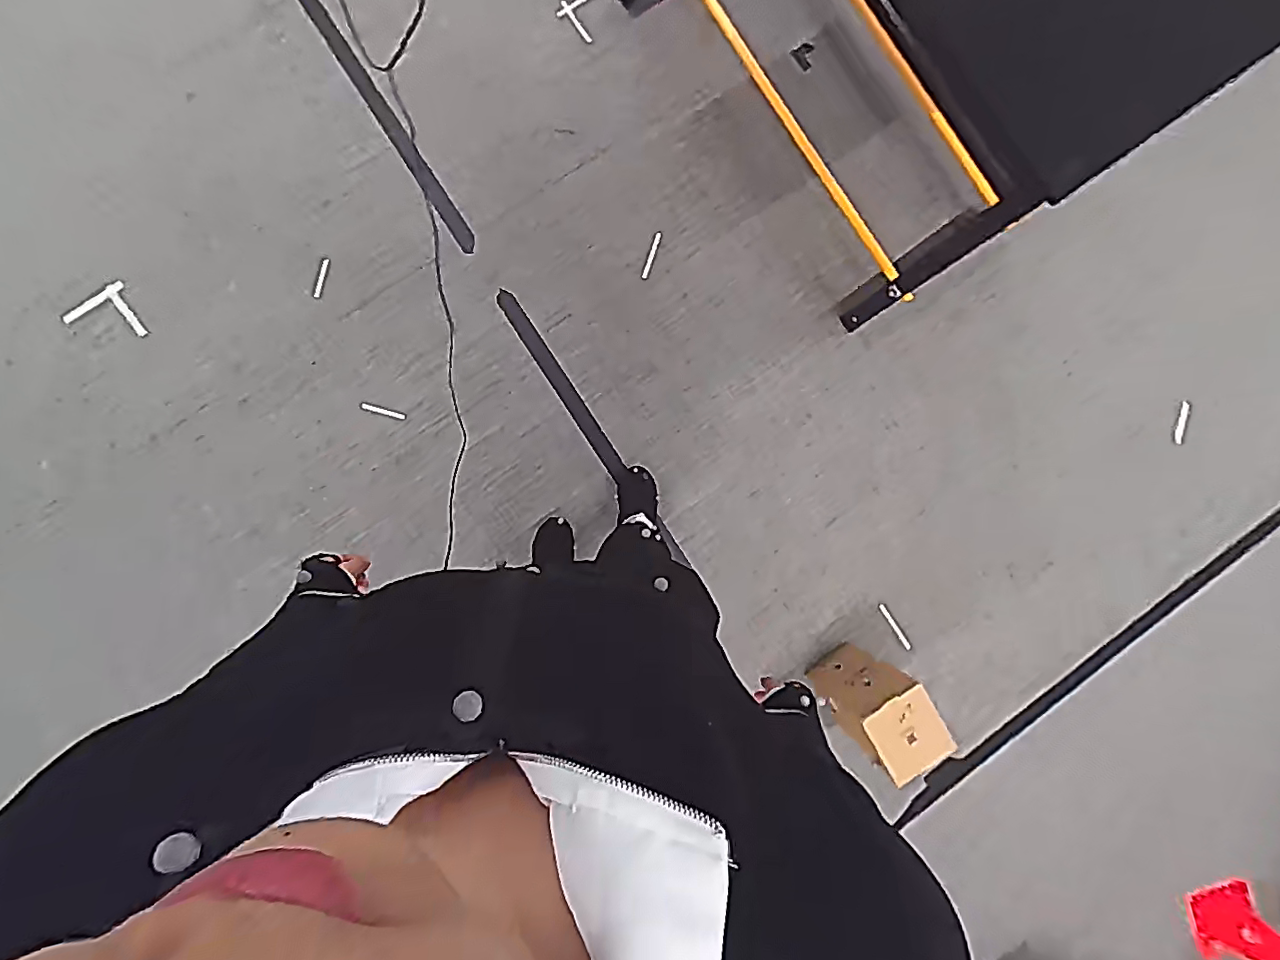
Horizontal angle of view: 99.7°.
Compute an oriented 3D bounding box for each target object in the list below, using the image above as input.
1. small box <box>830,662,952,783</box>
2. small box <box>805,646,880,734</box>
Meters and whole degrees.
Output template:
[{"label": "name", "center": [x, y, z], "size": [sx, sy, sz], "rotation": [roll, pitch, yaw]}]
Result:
[{"label": "small box", "center": [0.592, 0.571, 1.296], "size": [0.168, 0.176, 0.179], "rotation": [-30, 90, -5]}, {"label": "small box", "center": [0.579, 0.572, 1.461], "size": [0.168, 0.176, 0.179], "rotation": [-35, 90, -5]}]
